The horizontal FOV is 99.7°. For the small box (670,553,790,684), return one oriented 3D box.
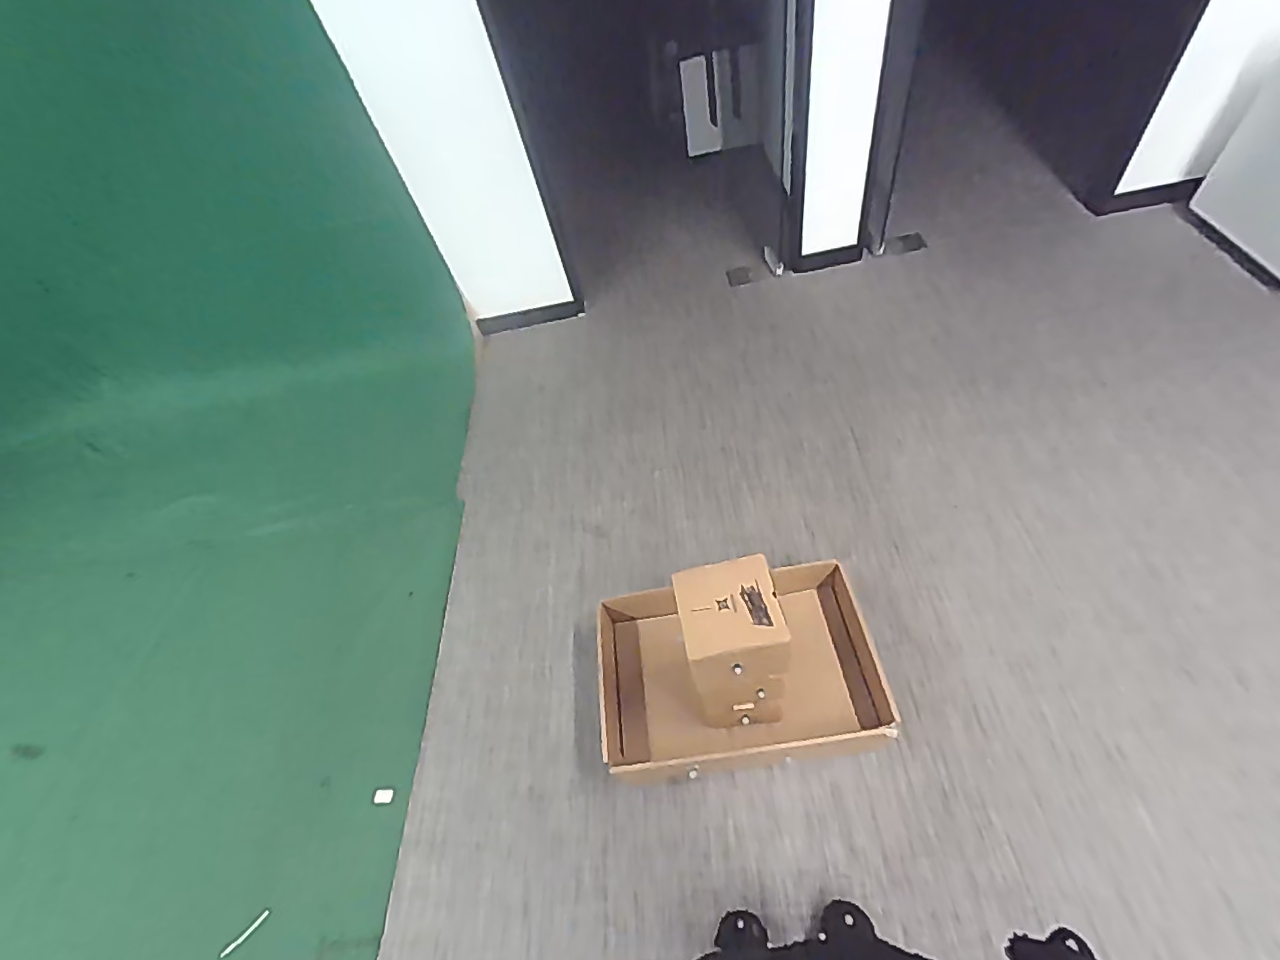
[{"bbox_3d":[0.162,0.260,1.002,0.179,0.176,0.168,-14,53,1],"label":"small box"}]

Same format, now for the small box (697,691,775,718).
[{"bbox_3d":[0.219,0.447,1.263,0.168,0.176,0.179,-8,53,7],"label":"small box"}]
